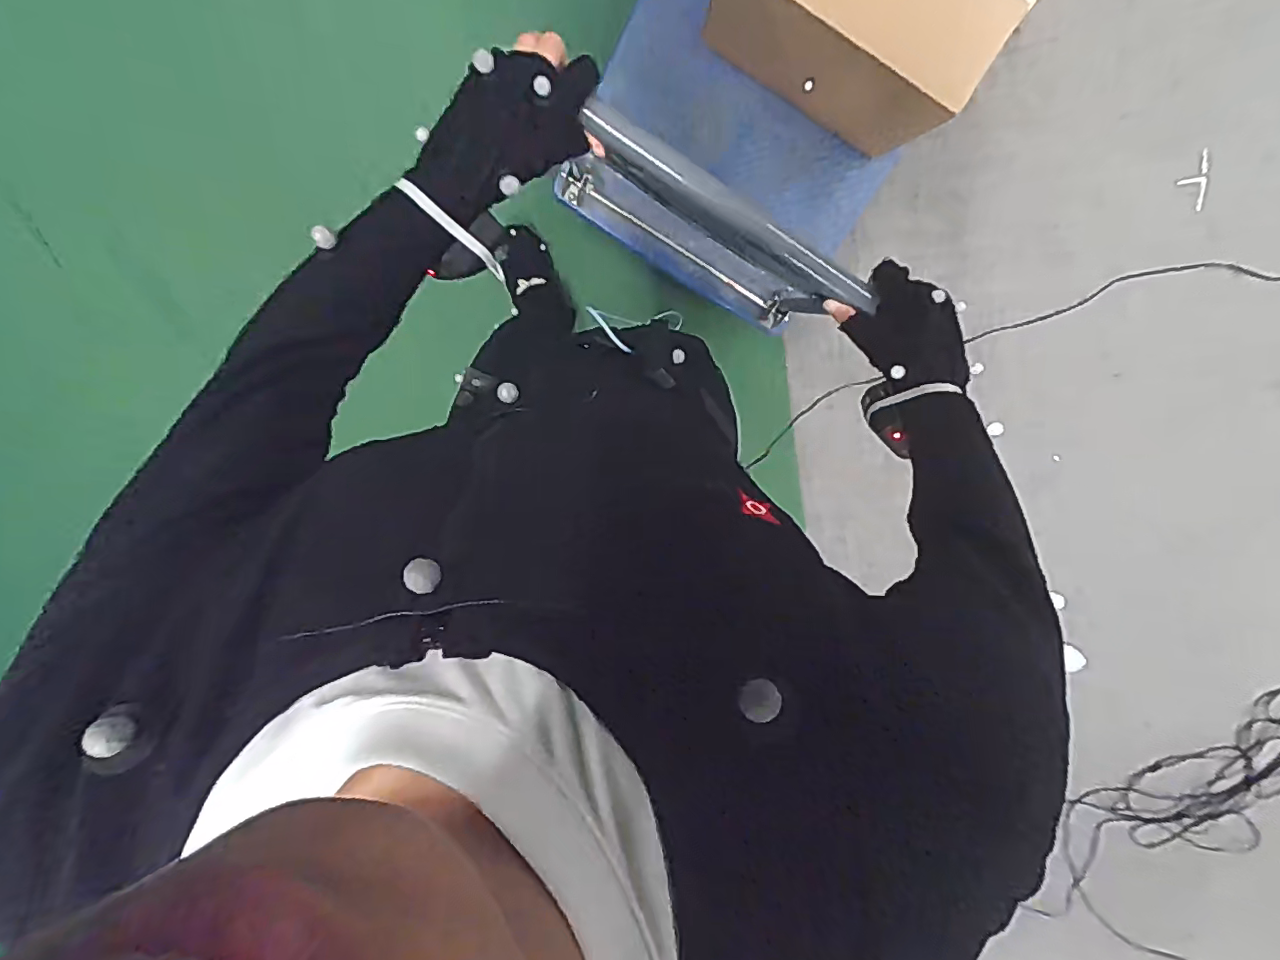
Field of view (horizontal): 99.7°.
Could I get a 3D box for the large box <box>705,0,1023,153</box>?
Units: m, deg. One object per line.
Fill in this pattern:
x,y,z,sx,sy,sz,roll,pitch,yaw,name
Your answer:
0.359,-0.799,0.855,0.408,0.320,0.320,28,108,-8,large box
